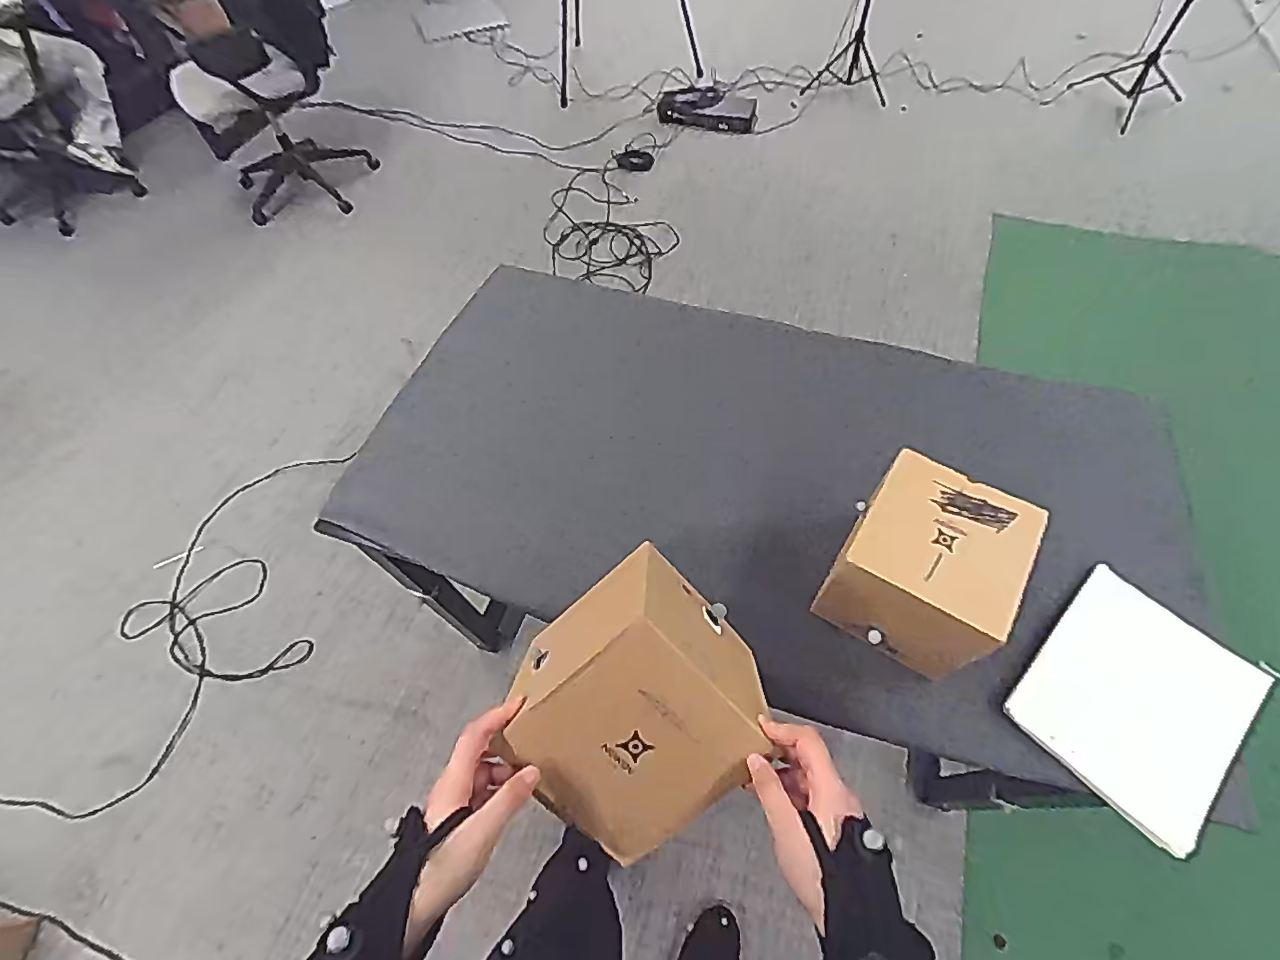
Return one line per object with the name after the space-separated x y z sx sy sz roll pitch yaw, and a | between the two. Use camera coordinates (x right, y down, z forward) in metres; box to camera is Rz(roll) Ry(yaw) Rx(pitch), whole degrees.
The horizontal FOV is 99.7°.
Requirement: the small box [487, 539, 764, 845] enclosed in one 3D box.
-0.009 0.188 0.523 0.179 0.176 0.168 -44 99 10 | small box

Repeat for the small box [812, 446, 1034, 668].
0.329 0.097 0.659 0.168 0.176 0.179 28 64 20 | small box
